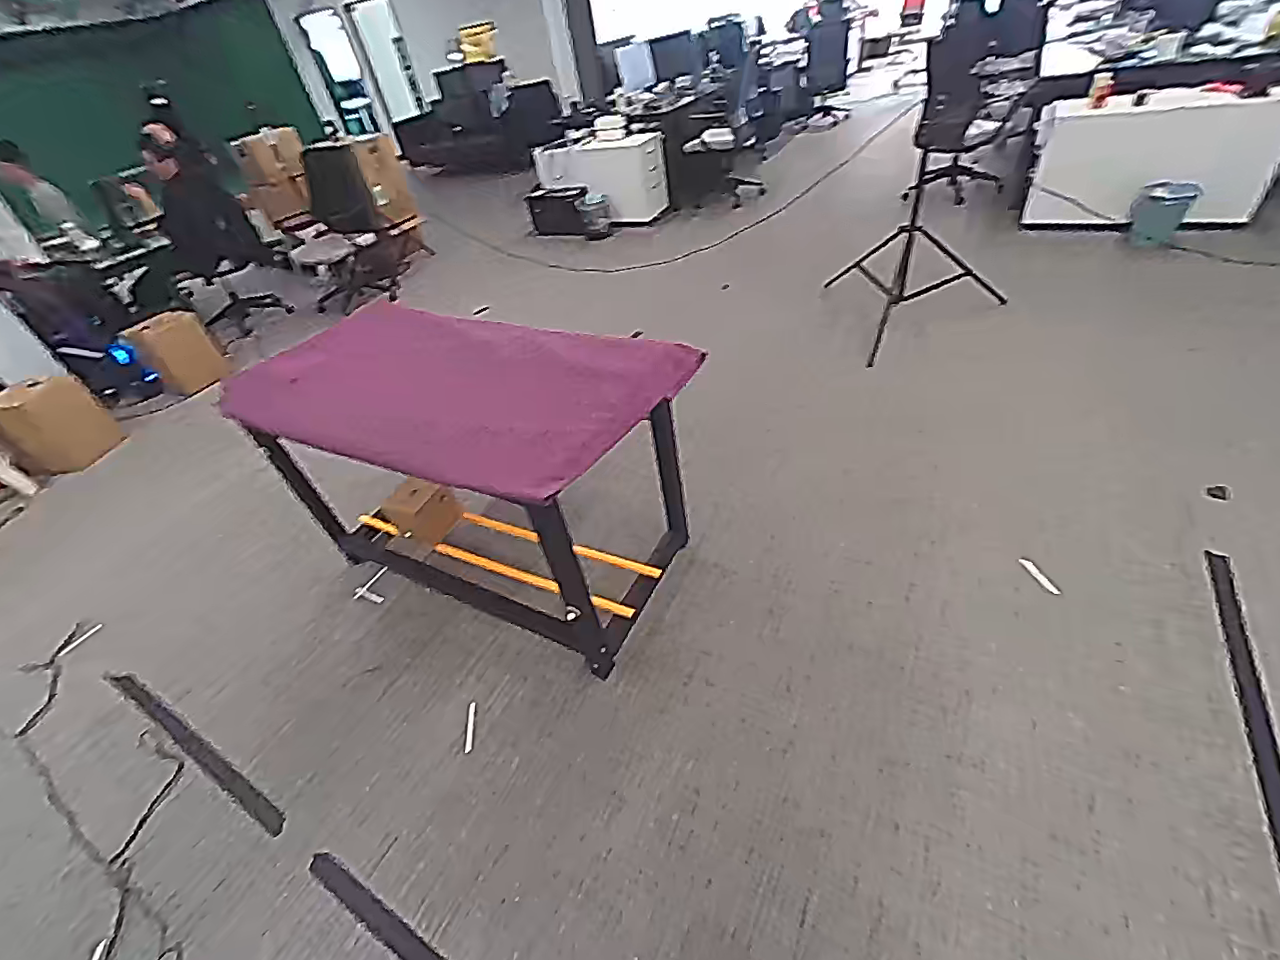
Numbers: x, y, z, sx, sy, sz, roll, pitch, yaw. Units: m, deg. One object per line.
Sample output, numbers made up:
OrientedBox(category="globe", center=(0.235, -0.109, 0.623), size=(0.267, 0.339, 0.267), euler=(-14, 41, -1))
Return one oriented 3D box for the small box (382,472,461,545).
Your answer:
OrientedBox(category="small box", center=(-0.761, 0.100, 1.910), size=(0.168, 0.176, 0.179), euler=(11, 48, 25))
